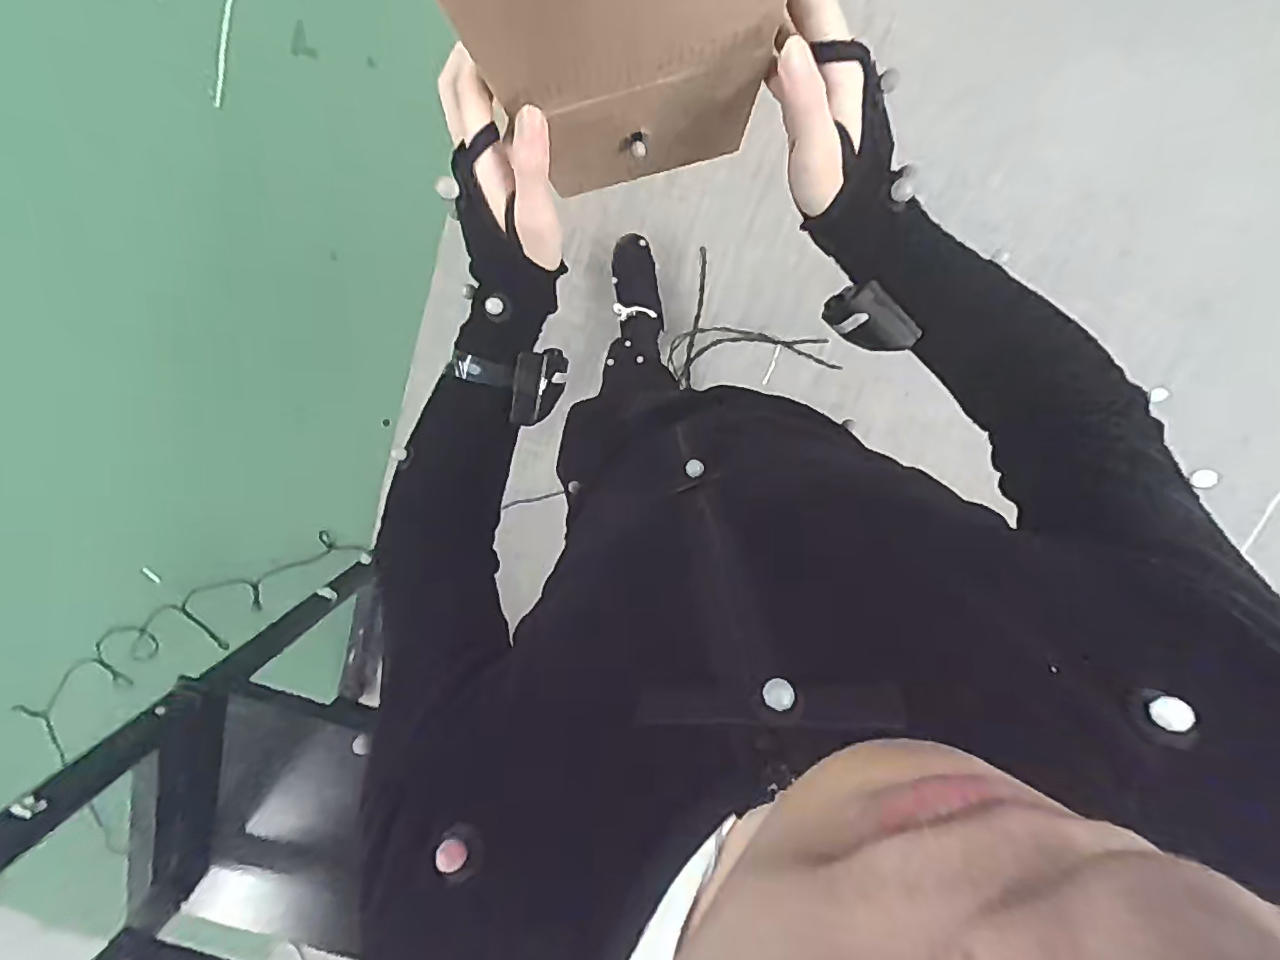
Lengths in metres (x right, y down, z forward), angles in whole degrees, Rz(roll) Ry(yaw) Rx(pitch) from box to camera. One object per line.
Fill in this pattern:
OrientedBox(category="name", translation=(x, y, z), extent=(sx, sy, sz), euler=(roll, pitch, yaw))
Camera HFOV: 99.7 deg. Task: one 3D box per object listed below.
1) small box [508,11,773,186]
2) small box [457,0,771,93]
OrientedBox(category="small box", translation=(-0.012, -0.354, 0.413), extent=(0.179, 0.176, 0.168), euler=(-12, 101, 6))
OrientedBox(category="small box", translation=(-0.022, -0.321, 0.252), extent=(0.179, 0.176, 0.168), euler=(-11, 101, 5))
